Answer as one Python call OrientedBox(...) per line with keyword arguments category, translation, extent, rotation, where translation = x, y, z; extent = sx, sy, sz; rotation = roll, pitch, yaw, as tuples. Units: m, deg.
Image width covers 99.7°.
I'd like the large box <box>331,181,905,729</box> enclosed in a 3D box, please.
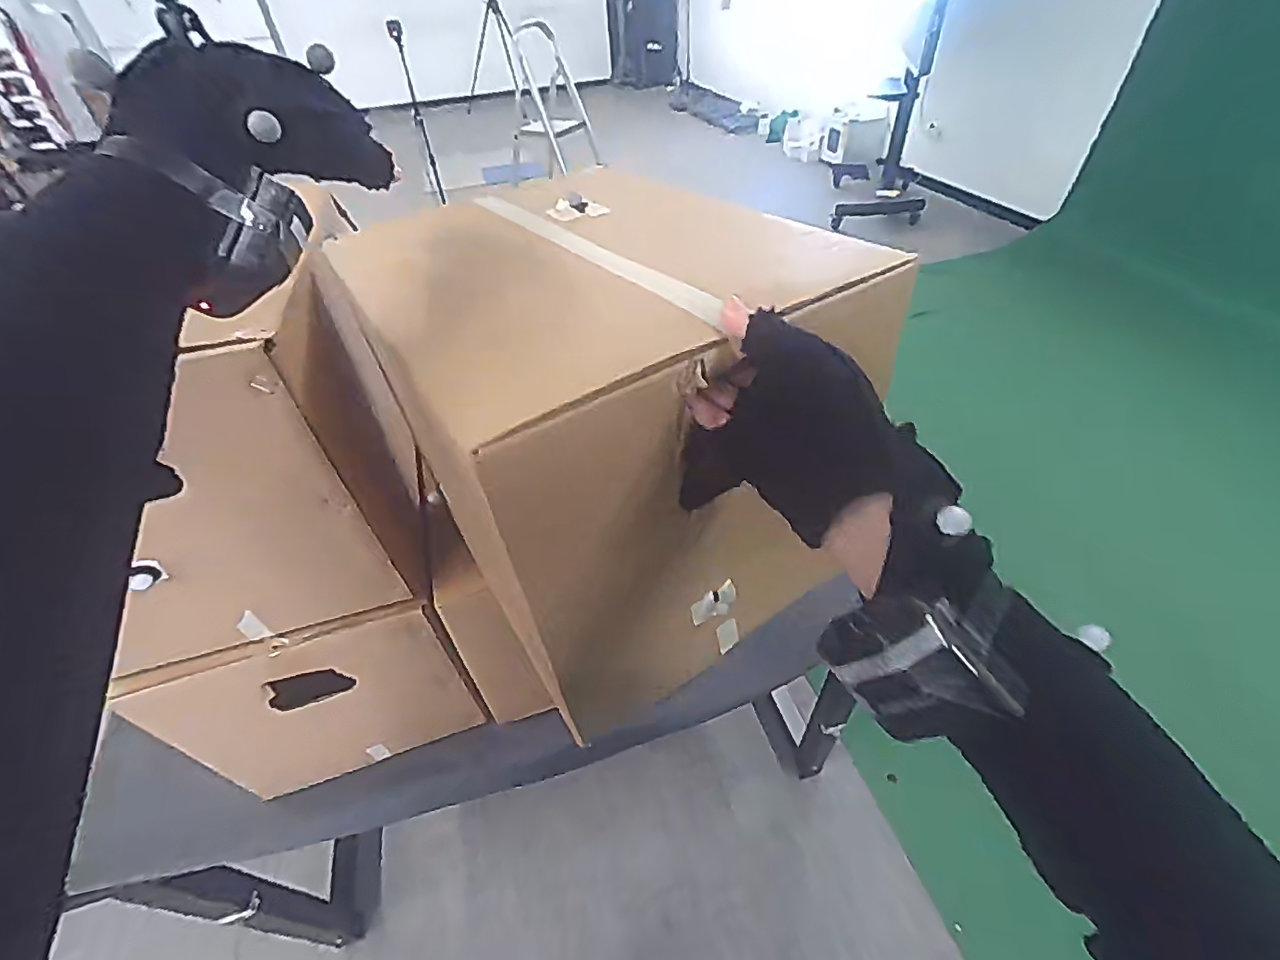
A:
OrientedBox(category="large box", translation=(-0.038, -0.062, 0.530), extent=(0.320, 0.320, 0.408), rotation=(-27, 45, -22))
